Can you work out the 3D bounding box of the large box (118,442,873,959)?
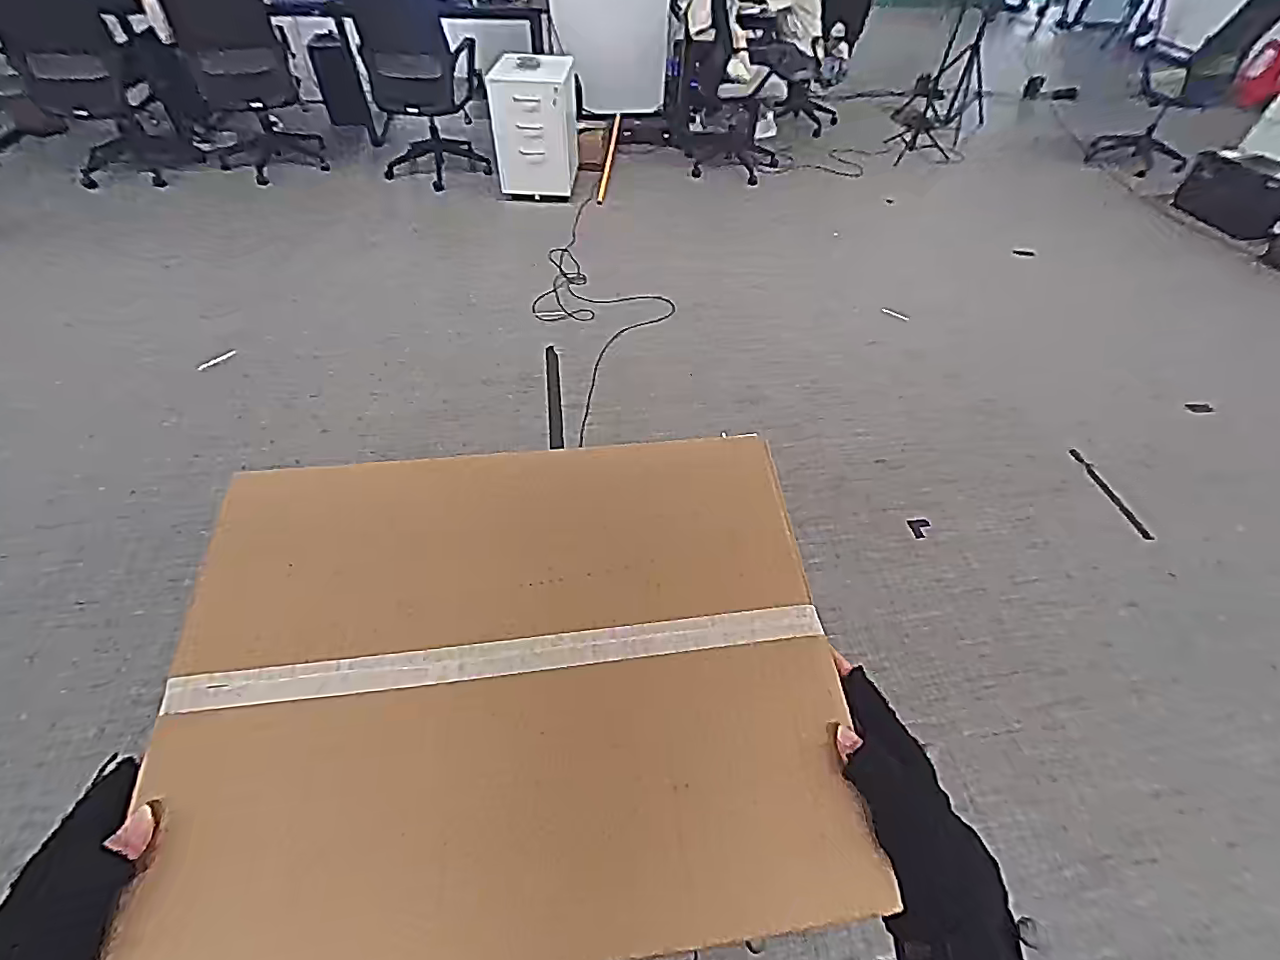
[{"bbox_3d":[-0.089,0.192,0.481,0.408,0.320,0.320,-5,59,-6],"label":"large box"}]
